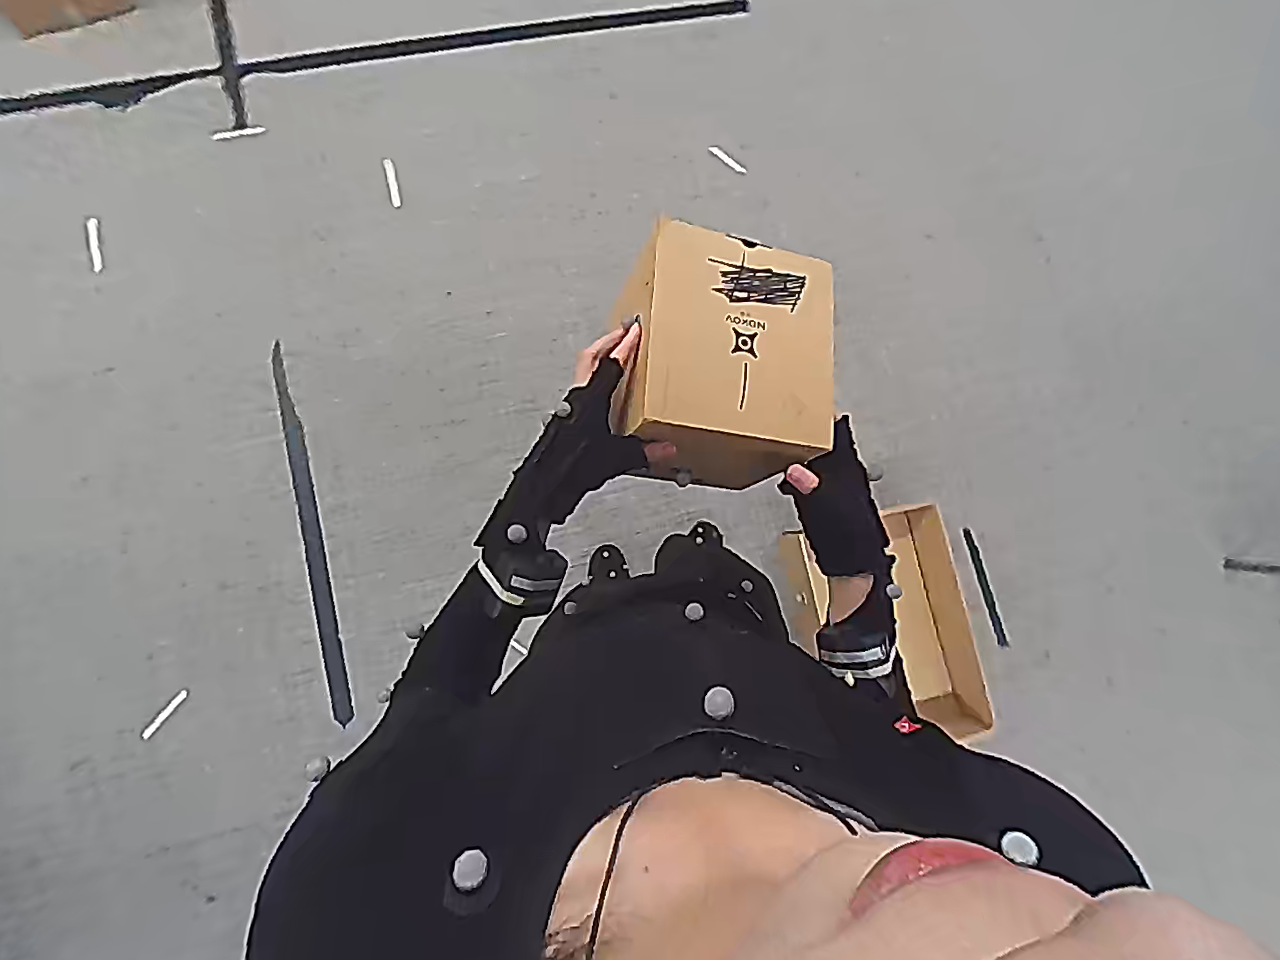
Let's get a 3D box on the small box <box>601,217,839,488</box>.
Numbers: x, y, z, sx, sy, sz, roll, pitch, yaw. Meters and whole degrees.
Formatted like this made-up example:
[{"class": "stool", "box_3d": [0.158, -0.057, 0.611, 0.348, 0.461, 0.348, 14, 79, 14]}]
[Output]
[{"class": "small box", "box_3d": [0.062, -0.102, 0.510, 0.168, 0.176, 0.179, 6, 75, -15]}]
